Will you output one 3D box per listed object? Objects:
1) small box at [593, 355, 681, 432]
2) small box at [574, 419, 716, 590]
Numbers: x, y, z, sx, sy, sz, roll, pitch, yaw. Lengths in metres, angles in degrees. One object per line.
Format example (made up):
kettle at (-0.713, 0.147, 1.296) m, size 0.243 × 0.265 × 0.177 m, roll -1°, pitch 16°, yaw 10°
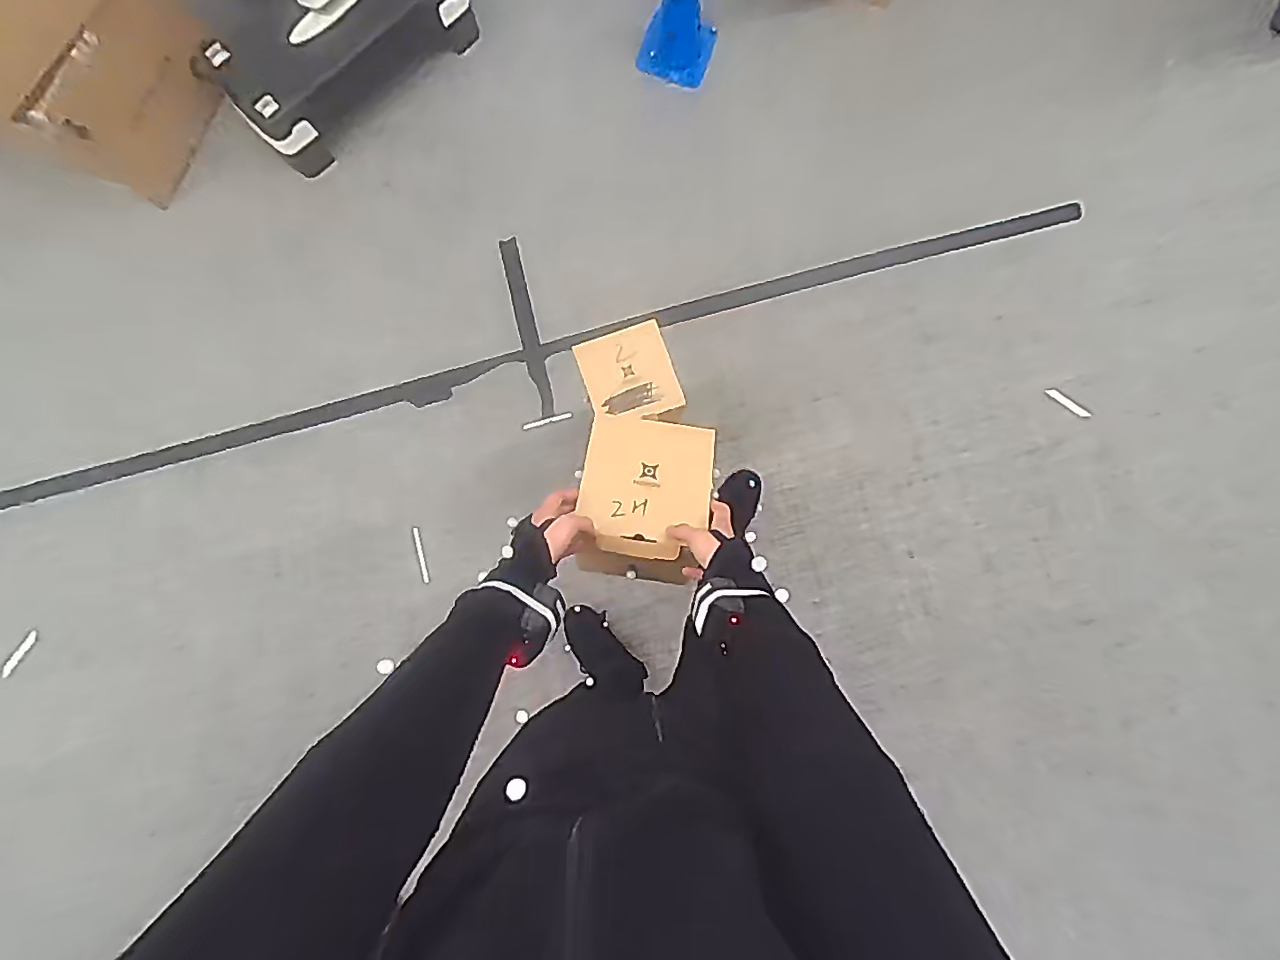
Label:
small box at (-0.009, -0.163, 1.236) m, size 0.168 × 0.176 × 0.179 m, roll -12°, pitch 85°, yaw -1°
small box at (0.005, 0.041, 0.765) m, size 0.168 × 0.176 × 0.179 m, roll 9°, pitch 65°, yaw 0°
